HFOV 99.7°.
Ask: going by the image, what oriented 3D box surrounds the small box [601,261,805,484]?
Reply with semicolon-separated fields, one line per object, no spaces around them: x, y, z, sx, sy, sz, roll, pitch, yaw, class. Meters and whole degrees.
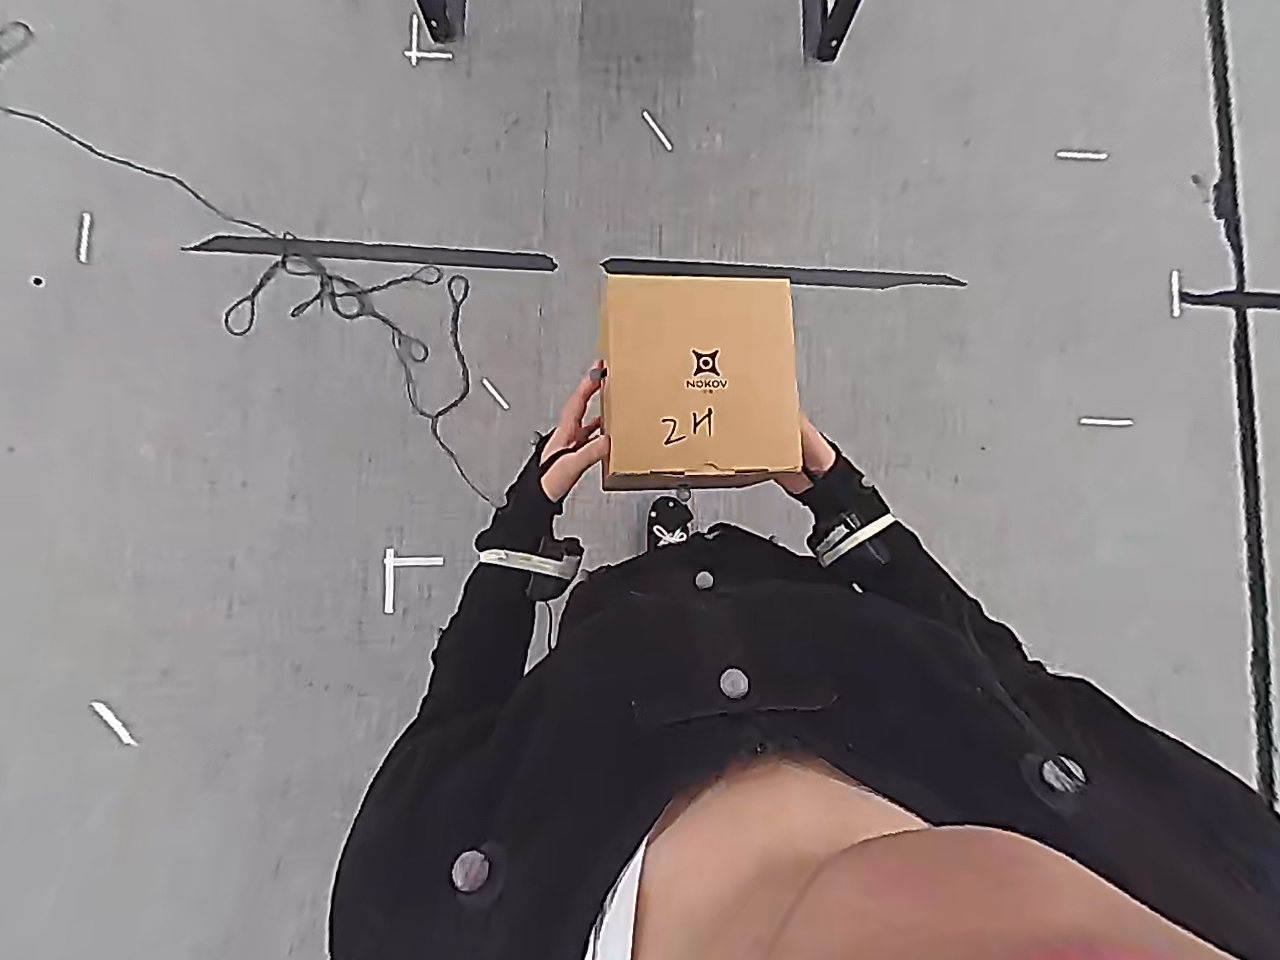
0.048;-0.092;0.539;0.168;0.176;0.179;-1;84;-7;small box
